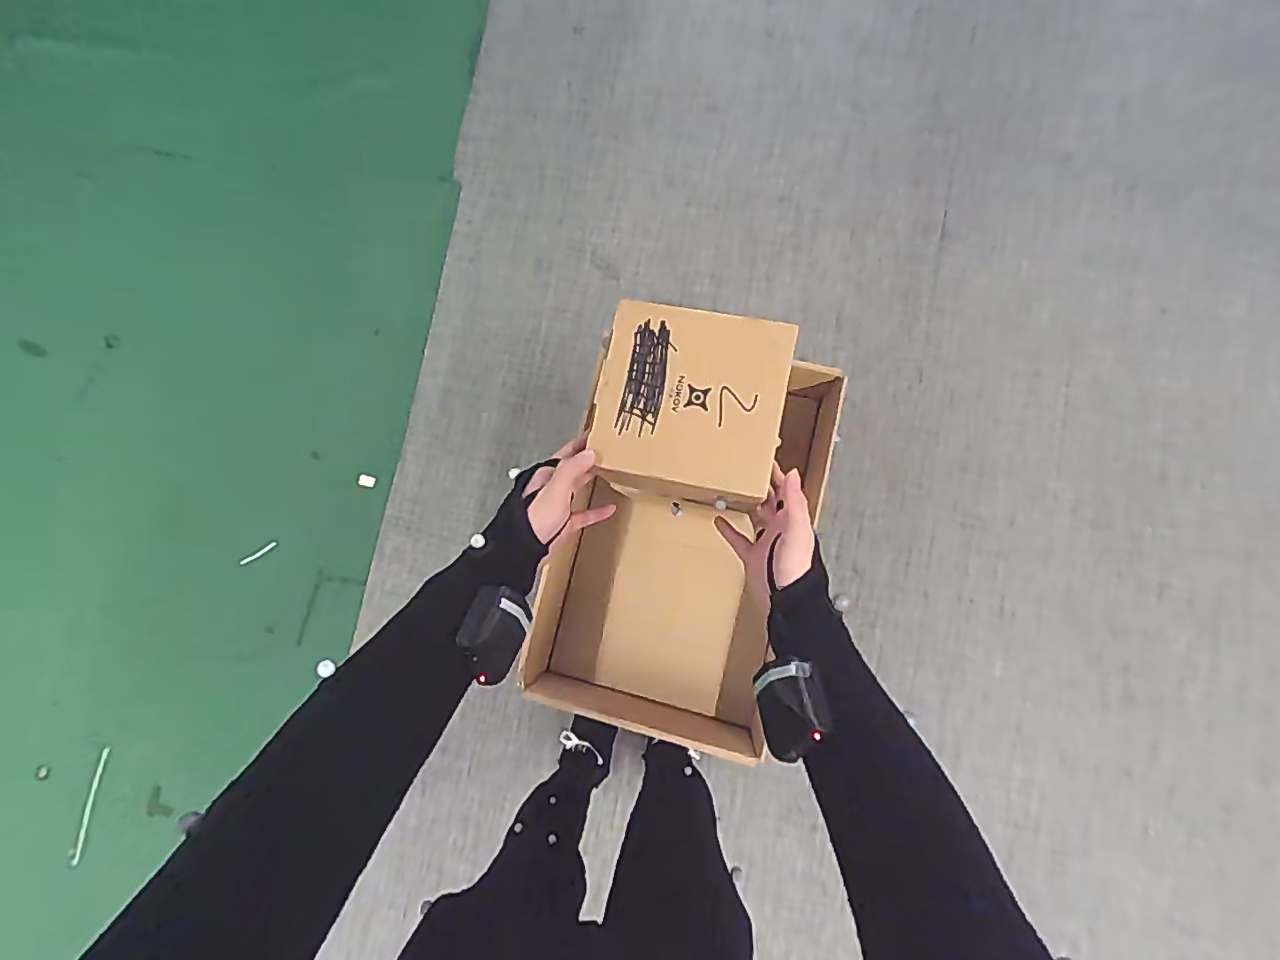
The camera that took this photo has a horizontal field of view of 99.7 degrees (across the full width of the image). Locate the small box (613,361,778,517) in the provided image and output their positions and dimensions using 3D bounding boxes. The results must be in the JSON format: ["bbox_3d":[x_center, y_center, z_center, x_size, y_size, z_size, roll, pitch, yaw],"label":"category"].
[{"bbox_3d":[0.077,-0.046,0.738,0.179,0.176,0.168,11,85,9],"label":"small box"}]
